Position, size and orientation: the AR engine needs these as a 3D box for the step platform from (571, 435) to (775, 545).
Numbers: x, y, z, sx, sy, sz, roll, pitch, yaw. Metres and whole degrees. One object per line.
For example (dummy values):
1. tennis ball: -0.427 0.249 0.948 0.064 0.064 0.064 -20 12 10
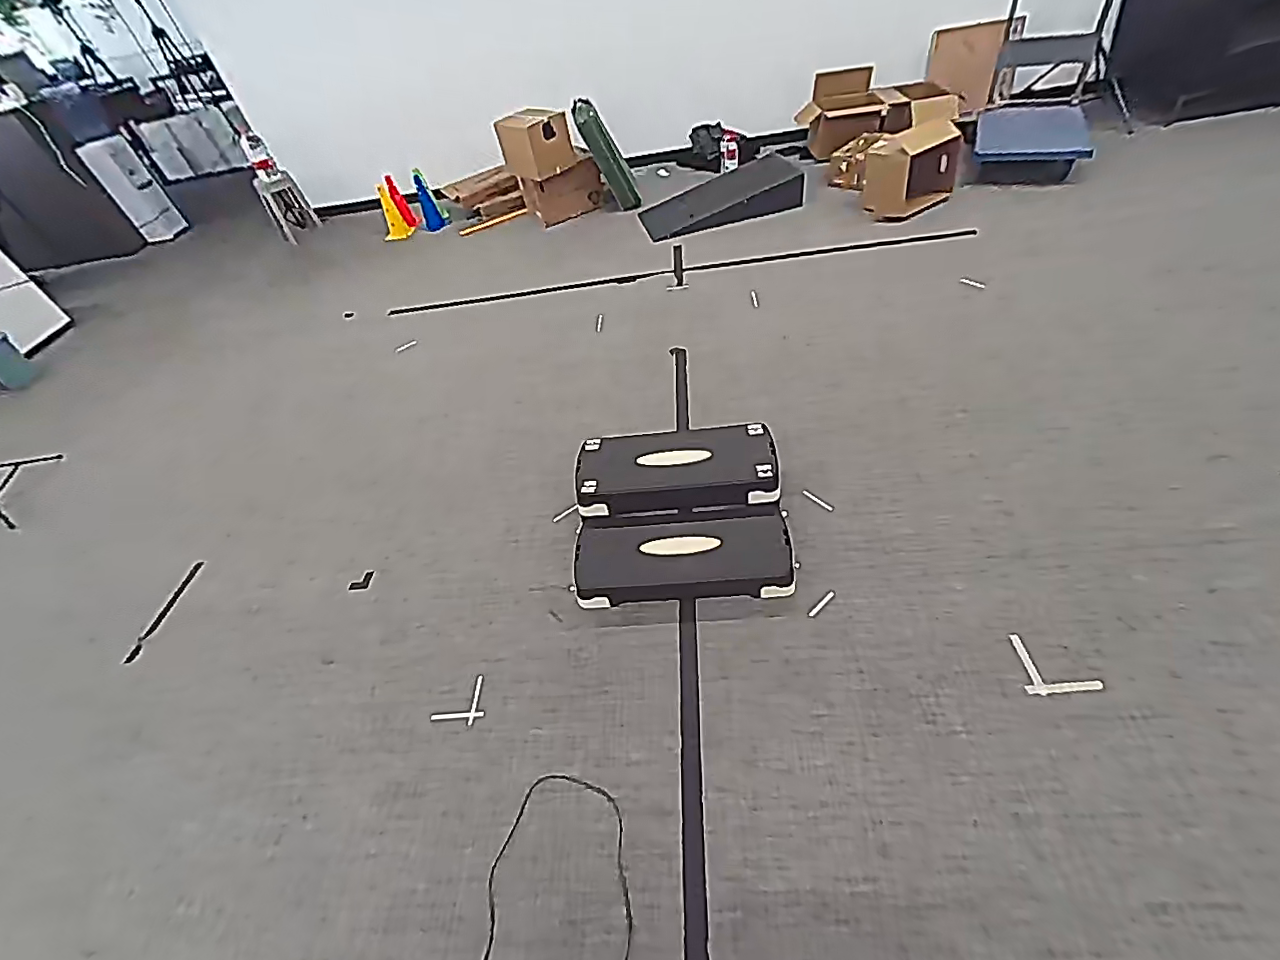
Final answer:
1. step platform: 0.108 0.029 1.846 0.684 0.204 0.286 -5 47 6
